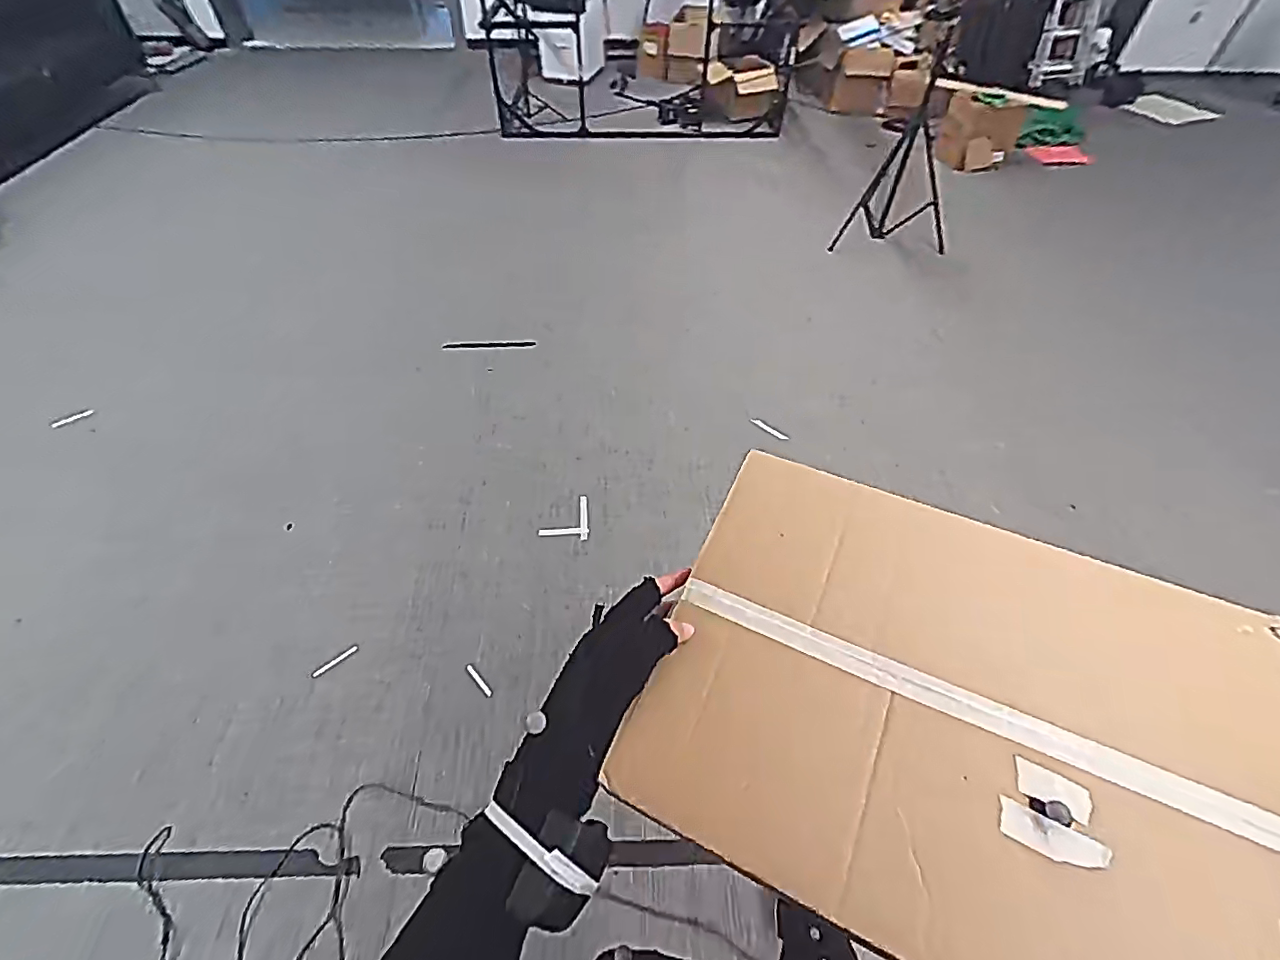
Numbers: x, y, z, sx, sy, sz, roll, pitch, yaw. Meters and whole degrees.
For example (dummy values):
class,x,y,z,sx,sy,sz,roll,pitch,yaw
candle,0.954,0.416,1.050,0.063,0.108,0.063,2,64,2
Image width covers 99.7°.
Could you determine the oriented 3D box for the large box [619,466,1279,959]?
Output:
class,x,y,z,sx,sy,sz,roll,pitch,yaw
large box,0.235,0.245,0.521,0.408,0.320,0.320,20,61,18
